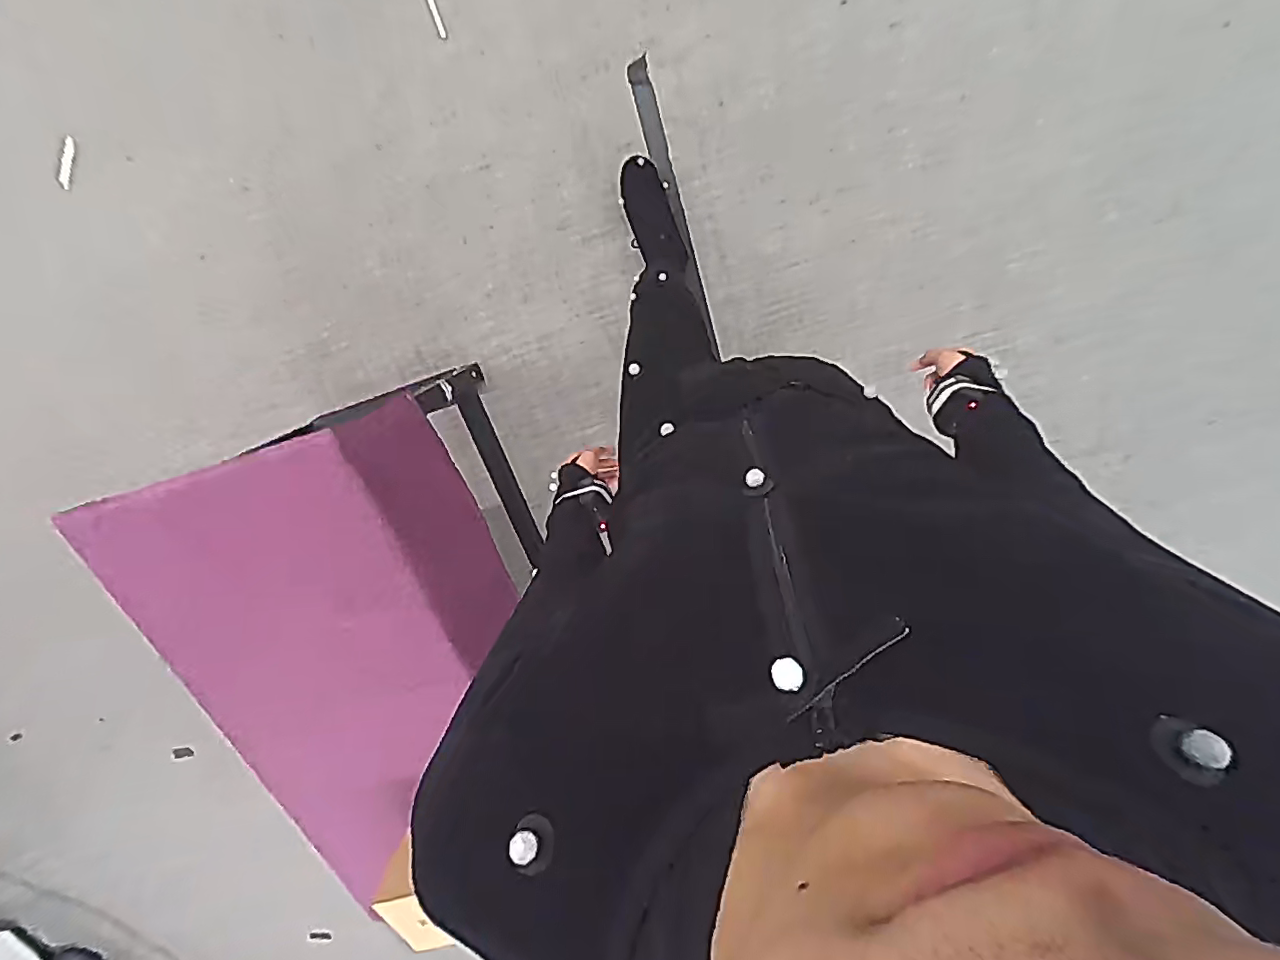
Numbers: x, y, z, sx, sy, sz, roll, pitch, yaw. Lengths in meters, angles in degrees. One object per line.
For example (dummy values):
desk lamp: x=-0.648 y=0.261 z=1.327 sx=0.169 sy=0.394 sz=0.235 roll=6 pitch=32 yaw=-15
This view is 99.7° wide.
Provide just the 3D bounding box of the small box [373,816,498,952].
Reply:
small box: x=-0.431 y=0.874 z=1.182 sx=0.179 sy=0.176 sz=0.168 roll=-24 pitch=108 yaw=14
